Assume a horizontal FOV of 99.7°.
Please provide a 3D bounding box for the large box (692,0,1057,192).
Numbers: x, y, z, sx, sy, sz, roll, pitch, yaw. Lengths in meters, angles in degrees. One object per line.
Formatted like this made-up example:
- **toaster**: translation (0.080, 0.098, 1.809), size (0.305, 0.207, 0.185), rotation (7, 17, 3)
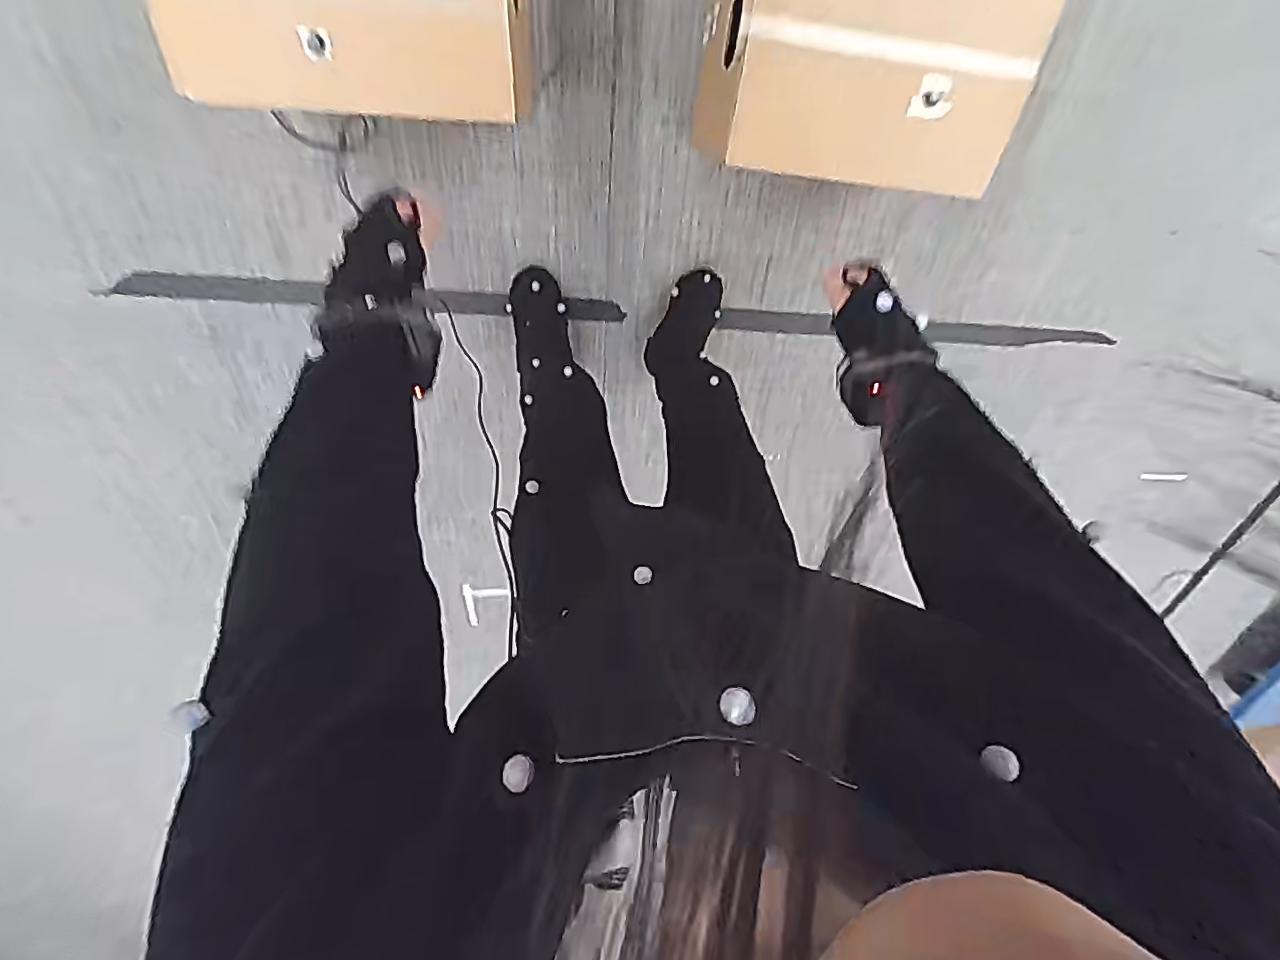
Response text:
- **large box**: translation (0.320, -0.655, 0.837), size (0.408, 0.320, 0.320), rotation (3, 125, -9)
